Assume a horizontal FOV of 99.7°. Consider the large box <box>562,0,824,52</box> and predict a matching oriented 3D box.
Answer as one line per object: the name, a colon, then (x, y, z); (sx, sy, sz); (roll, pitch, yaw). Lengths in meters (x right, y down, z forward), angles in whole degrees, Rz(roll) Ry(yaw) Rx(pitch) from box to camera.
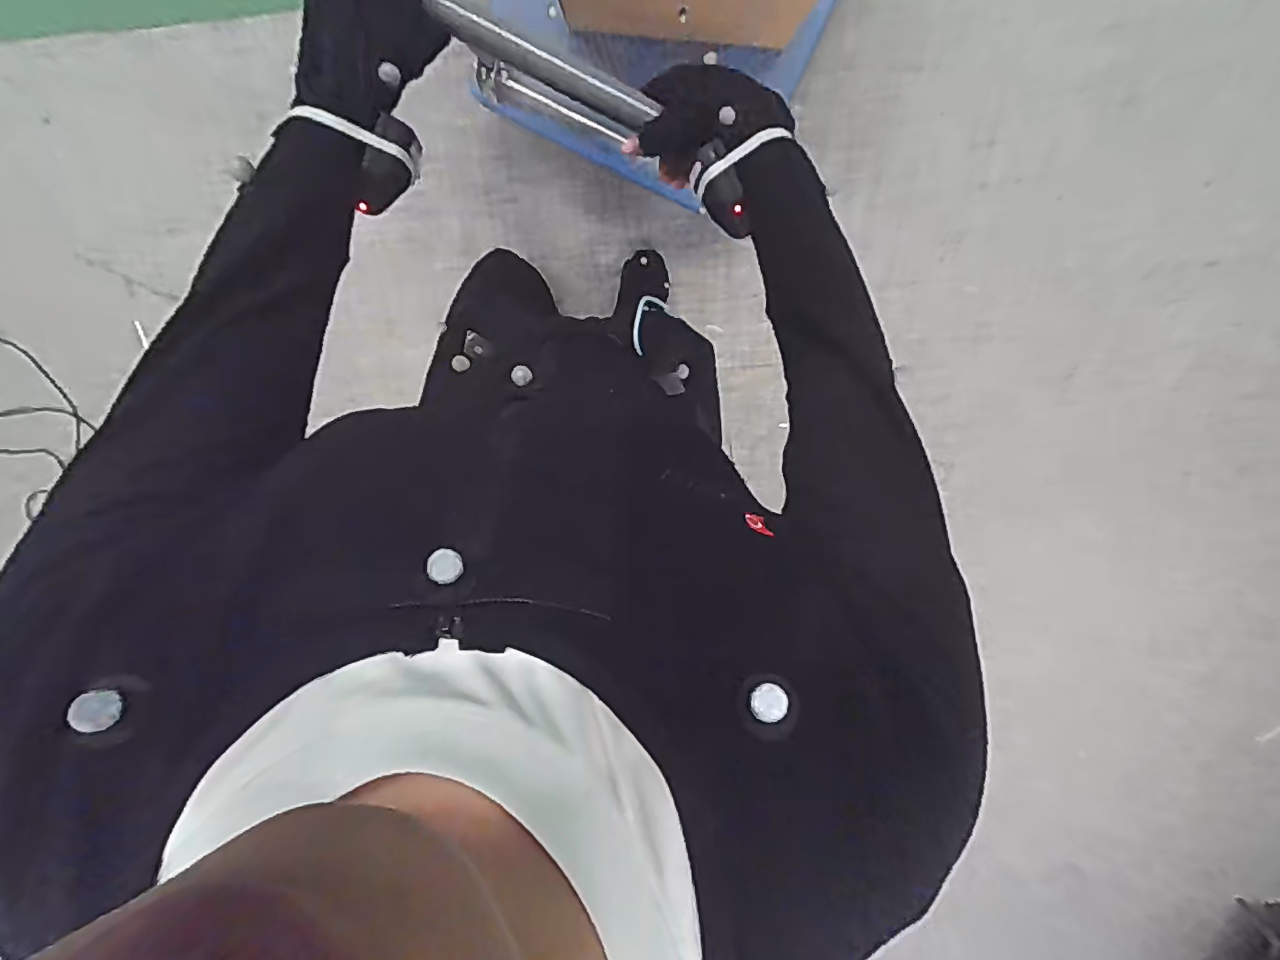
large box: (0.085, -0.887, 0.813); (0.408, 0.320, 0.320); (4, 112, -1)
